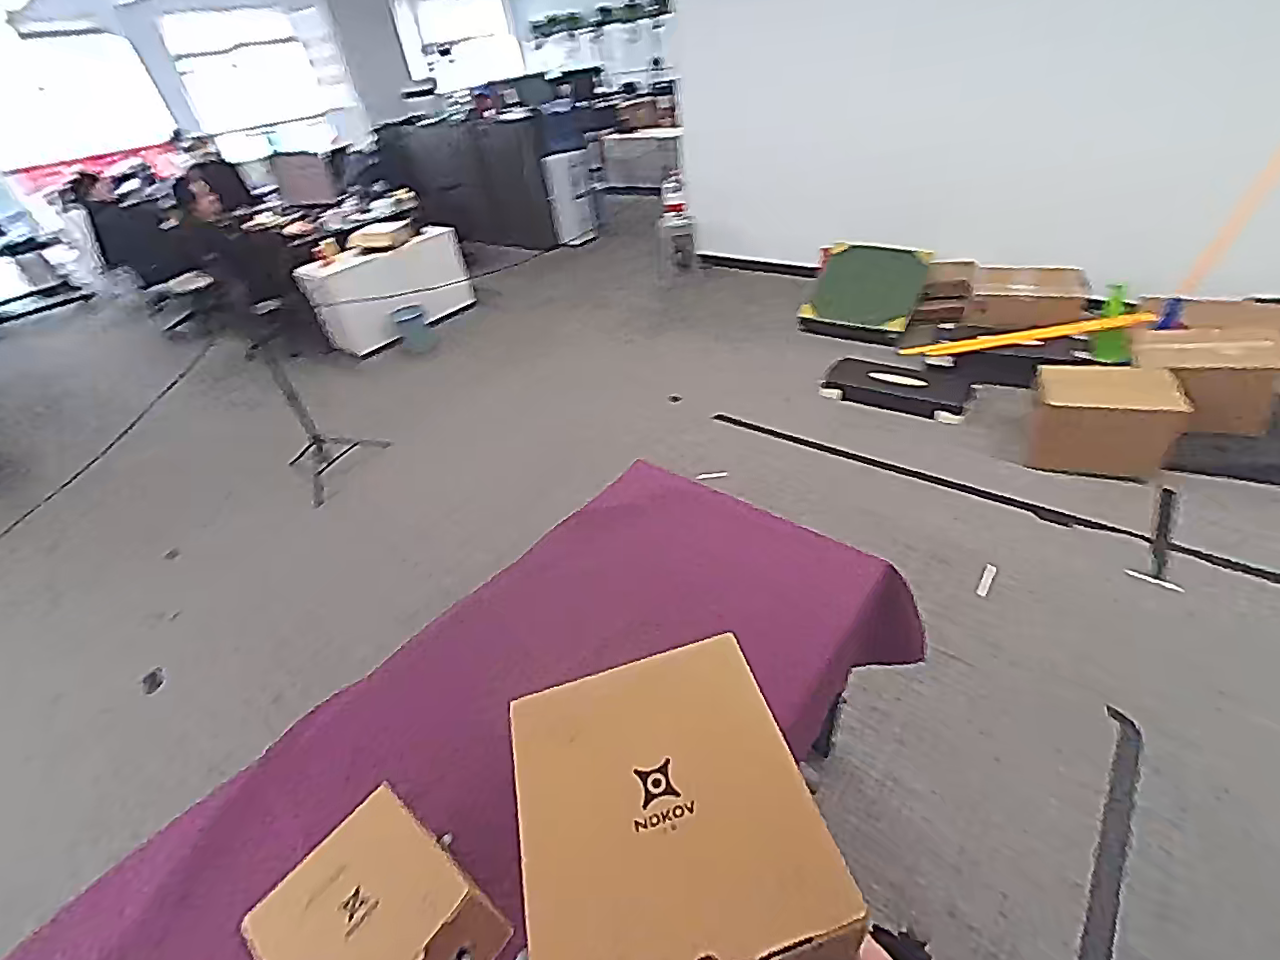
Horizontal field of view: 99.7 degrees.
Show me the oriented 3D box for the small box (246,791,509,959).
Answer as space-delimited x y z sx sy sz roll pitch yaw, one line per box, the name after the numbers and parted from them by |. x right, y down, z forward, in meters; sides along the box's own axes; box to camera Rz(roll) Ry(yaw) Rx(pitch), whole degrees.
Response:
-0.272 0.496 0.593 0.179 0.176 0.168 22 47 33 | small box

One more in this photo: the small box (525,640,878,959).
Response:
0.027 0.246 0.364 0.168 0.176 0.179 -15 39 -7 | small box
